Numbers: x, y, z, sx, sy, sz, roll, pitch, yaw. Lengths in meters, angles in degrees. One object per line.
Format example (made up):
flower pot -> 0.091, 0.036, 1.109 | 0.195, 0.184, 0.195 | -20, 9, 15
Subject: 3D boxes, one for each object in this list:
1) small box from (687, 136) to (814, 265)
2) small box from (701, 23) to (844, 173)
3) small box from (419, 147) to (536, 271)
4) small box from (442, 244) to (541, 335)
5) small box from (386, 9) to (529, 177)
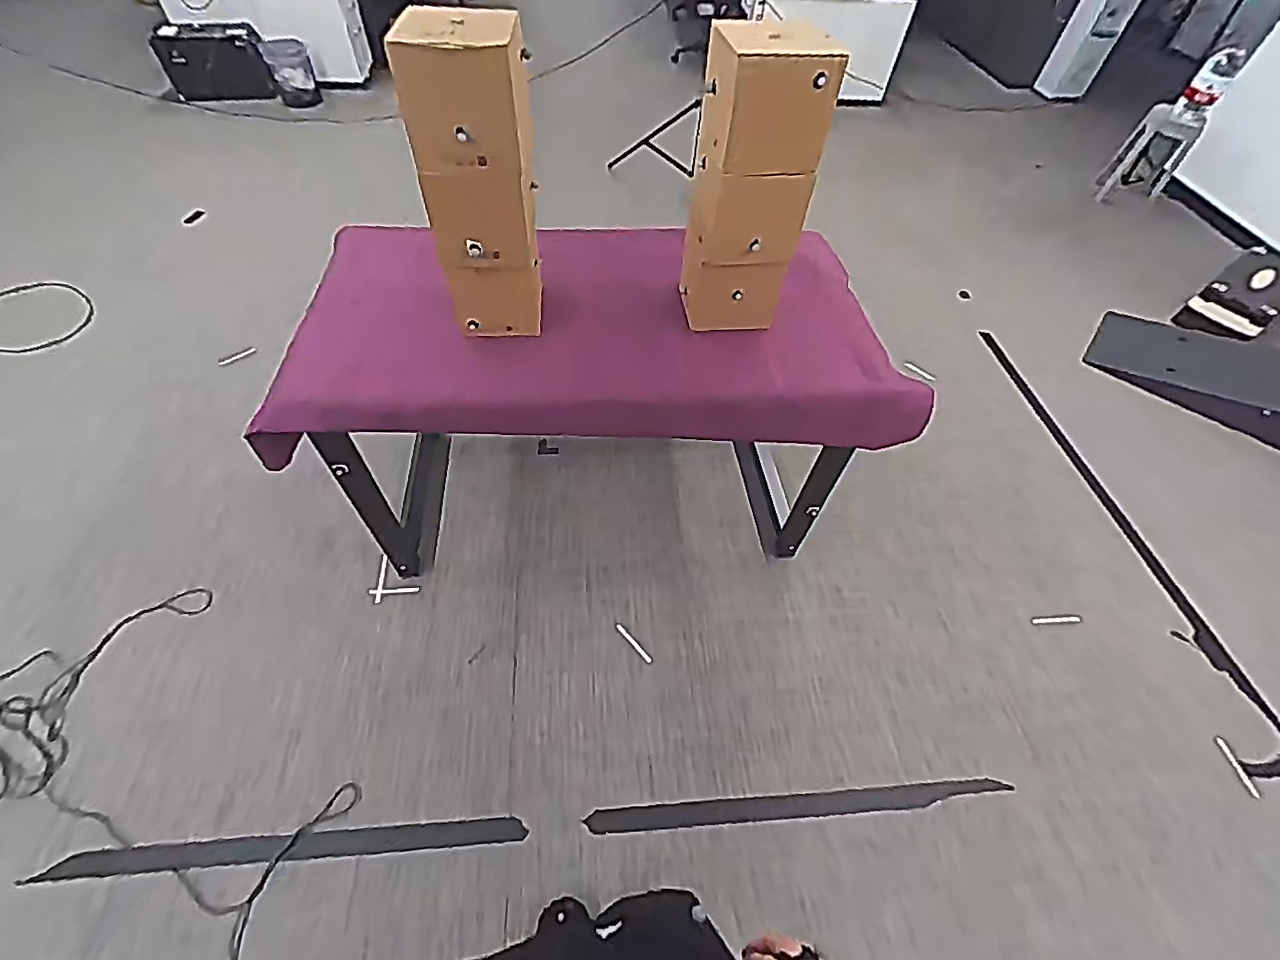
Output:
small box -> 0.198, -0.528, 1.028 | 0.179, 0.176, 0.168 | -6, 53, -9
small box -> 0.205, -0.632, 0.902 | 0.179, 0.176, 0.168 | -6, 54, -8
small box -> -0.281, -0.501, 0.974 | 0.168, 0.176, 0.179 | -2, 55, -5
small box -> -0.295, -0.414, 1.111 | 0.168, 0.176, 0.179 | -2, 53, -6
small box -> -0.268, -0.600, 0.843 | 0.168, 0.176, 0.179 | -1, 53, -4
